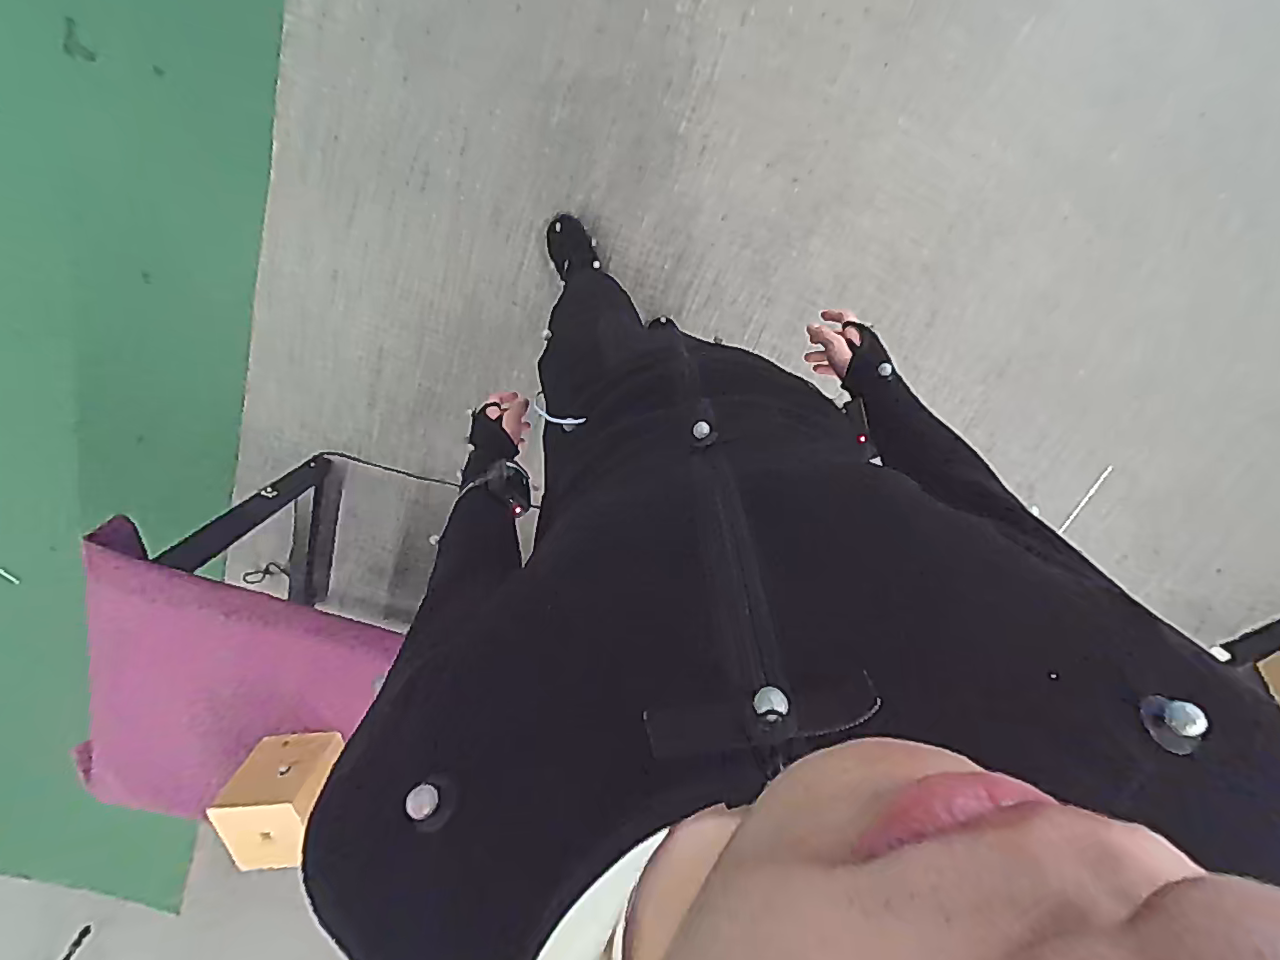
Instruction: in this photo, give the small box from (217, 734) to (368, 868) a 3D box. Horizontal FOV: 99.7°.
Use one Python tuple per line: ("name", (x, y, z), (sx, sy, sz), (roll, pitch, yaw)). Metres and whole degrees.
("small box", (-0.684, 0.635, 1.088), (0.168, 0.176, 0.179), (-6, 113, 3))
